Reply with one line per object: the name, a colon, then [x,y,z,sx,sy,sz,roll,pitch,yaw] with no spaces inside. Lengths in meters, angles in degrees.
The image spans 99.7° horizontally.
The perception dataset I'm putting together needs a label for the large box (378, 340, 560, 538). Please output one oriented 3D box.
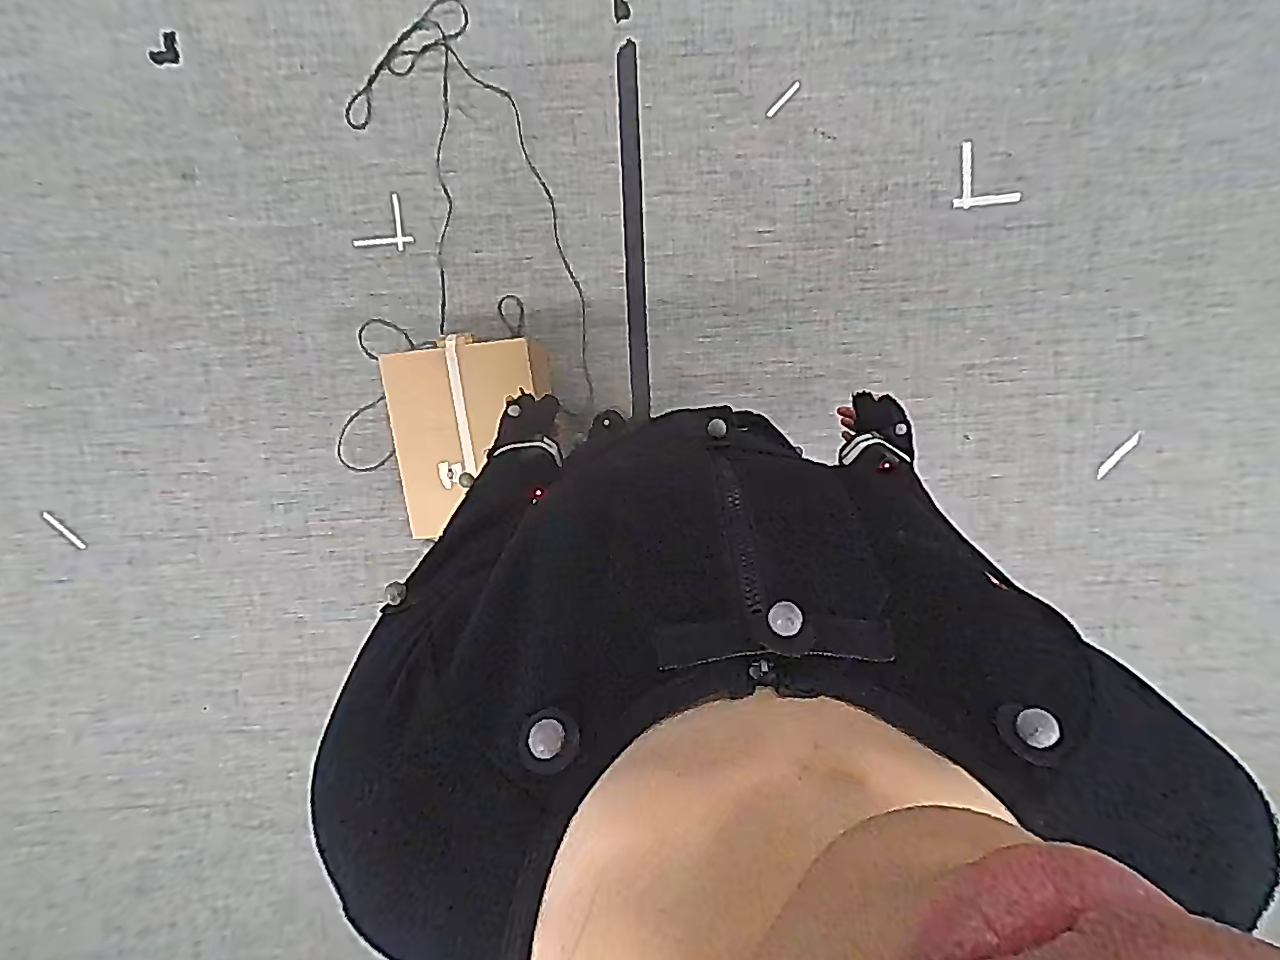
large box: [-0.385,-0.110,1.323,0.320,0.320,0.408,-7,100,-1]
